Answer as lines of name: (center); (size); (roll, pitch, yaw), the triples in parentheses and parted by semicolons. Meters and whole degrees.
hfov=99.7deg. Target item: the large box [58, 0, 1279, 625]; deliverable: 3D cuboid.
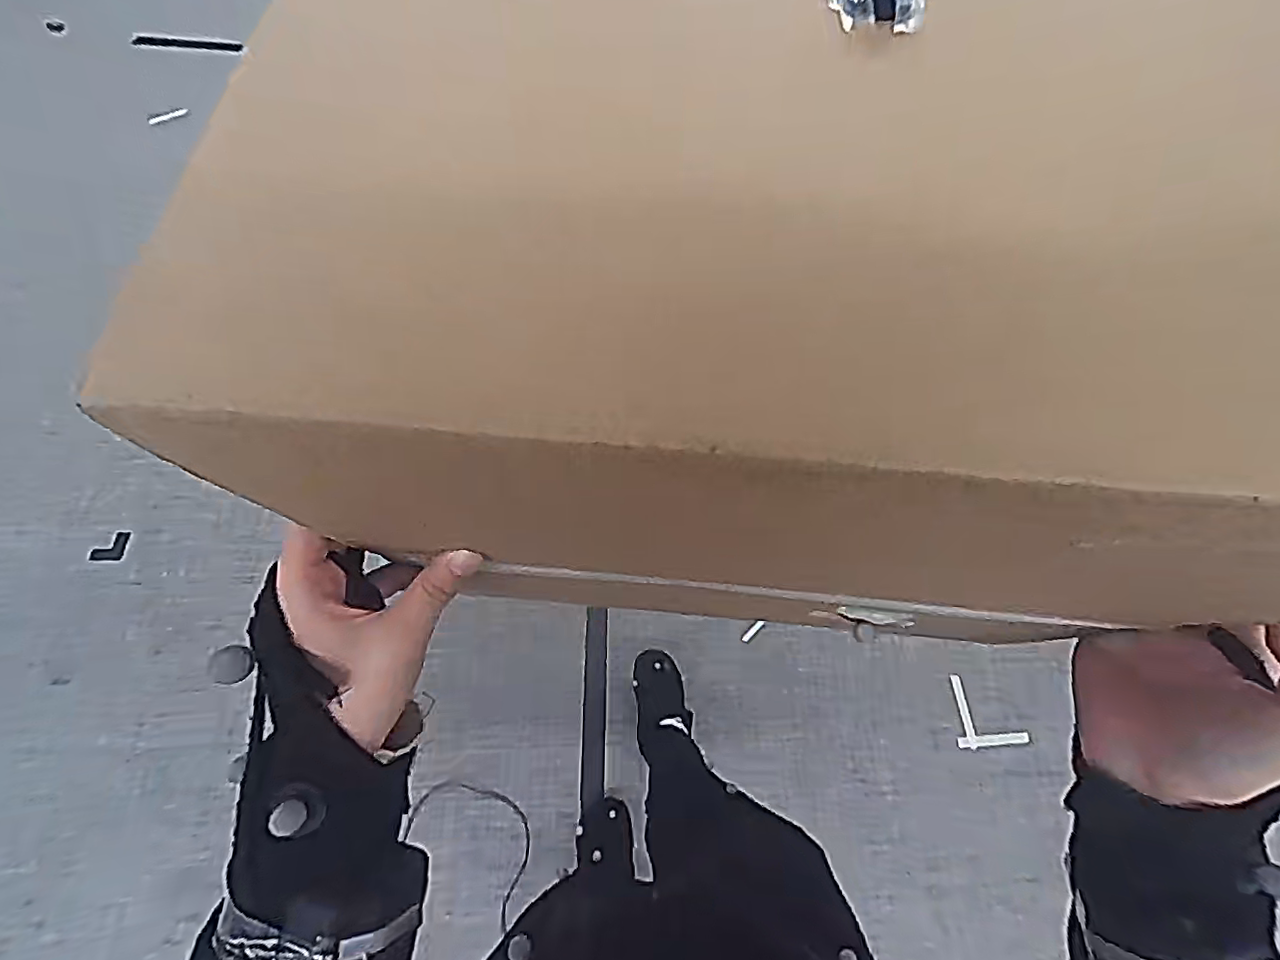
large box: (0.059, -0.099, 0.316); (0.408, 0.320, 0.320); (3, 71, 1)
